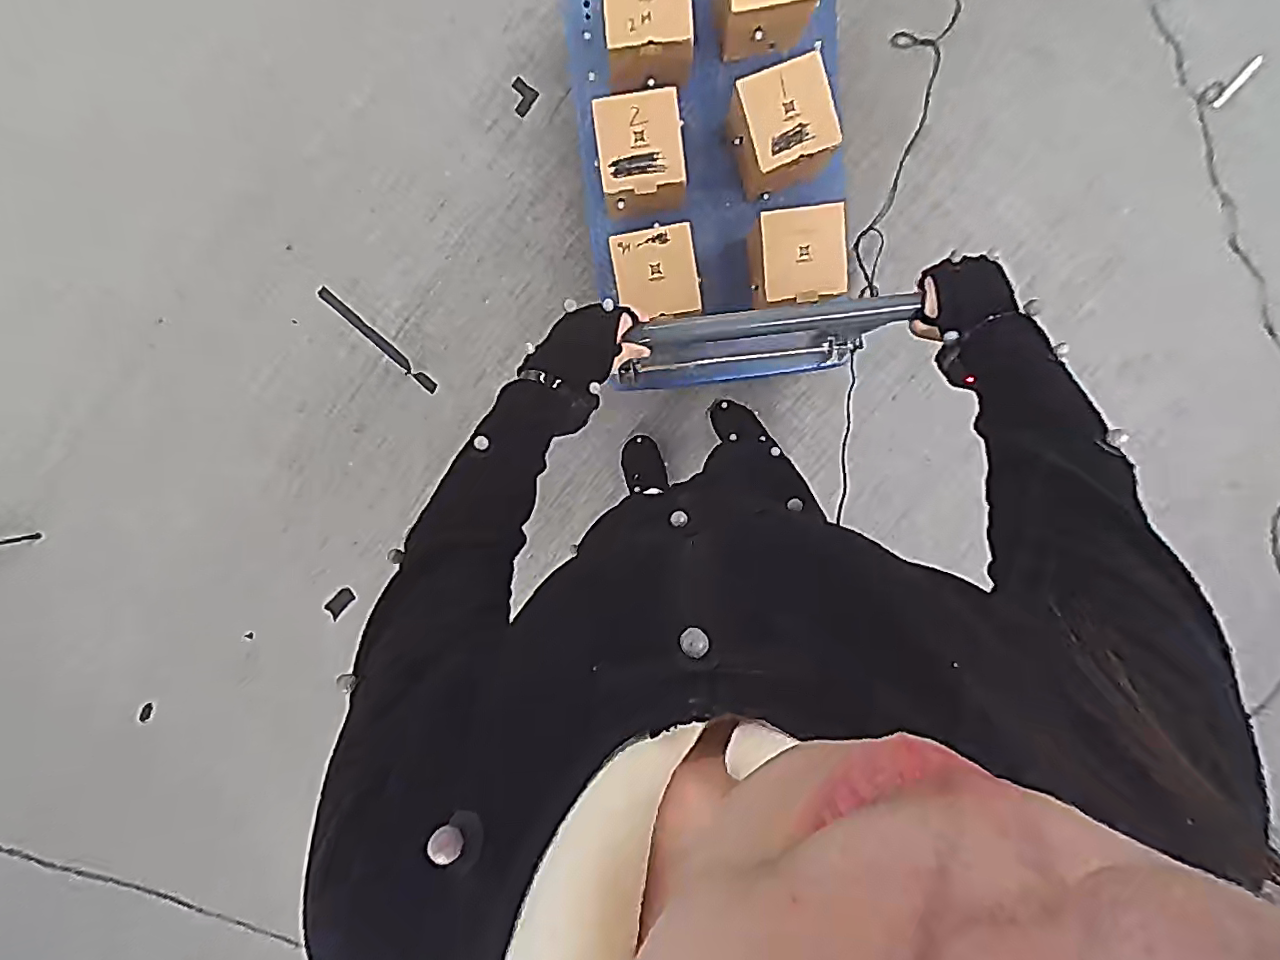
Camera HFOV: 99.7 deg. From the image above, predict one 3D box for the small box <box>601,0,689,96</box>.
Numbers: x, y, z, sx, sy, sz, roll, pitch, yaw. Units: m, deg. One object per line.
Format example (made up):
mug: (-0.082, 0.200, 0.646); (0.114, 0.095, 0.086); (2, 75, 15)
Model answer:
small box: (0.008, -0.919, 1.092); (0.168, 0.176, 0.179); (-4, 100, 2)

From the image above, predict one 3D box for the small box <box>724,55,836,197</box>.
small box: (0.281, -0.715, 1.120); (0.168, 0.176, 0.179); (-18, 97, 4)

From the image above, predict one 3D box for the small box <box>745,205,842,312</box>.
small box: (0.323, -0.464, 1.161); (0.168, 0.176, 0.179); (-5, 98, 2)

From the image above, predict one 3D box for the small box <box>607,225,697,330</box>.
small box: (0.028, -0.427, 1.173); (0.168, 0.176, 0.179); (-9, 99, 2)

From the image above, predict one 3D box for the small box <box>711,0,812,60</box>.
small box: (0.235, -0.980, 1.078); (0.168, 0.176, 0.179); (-9, 99, 3)
